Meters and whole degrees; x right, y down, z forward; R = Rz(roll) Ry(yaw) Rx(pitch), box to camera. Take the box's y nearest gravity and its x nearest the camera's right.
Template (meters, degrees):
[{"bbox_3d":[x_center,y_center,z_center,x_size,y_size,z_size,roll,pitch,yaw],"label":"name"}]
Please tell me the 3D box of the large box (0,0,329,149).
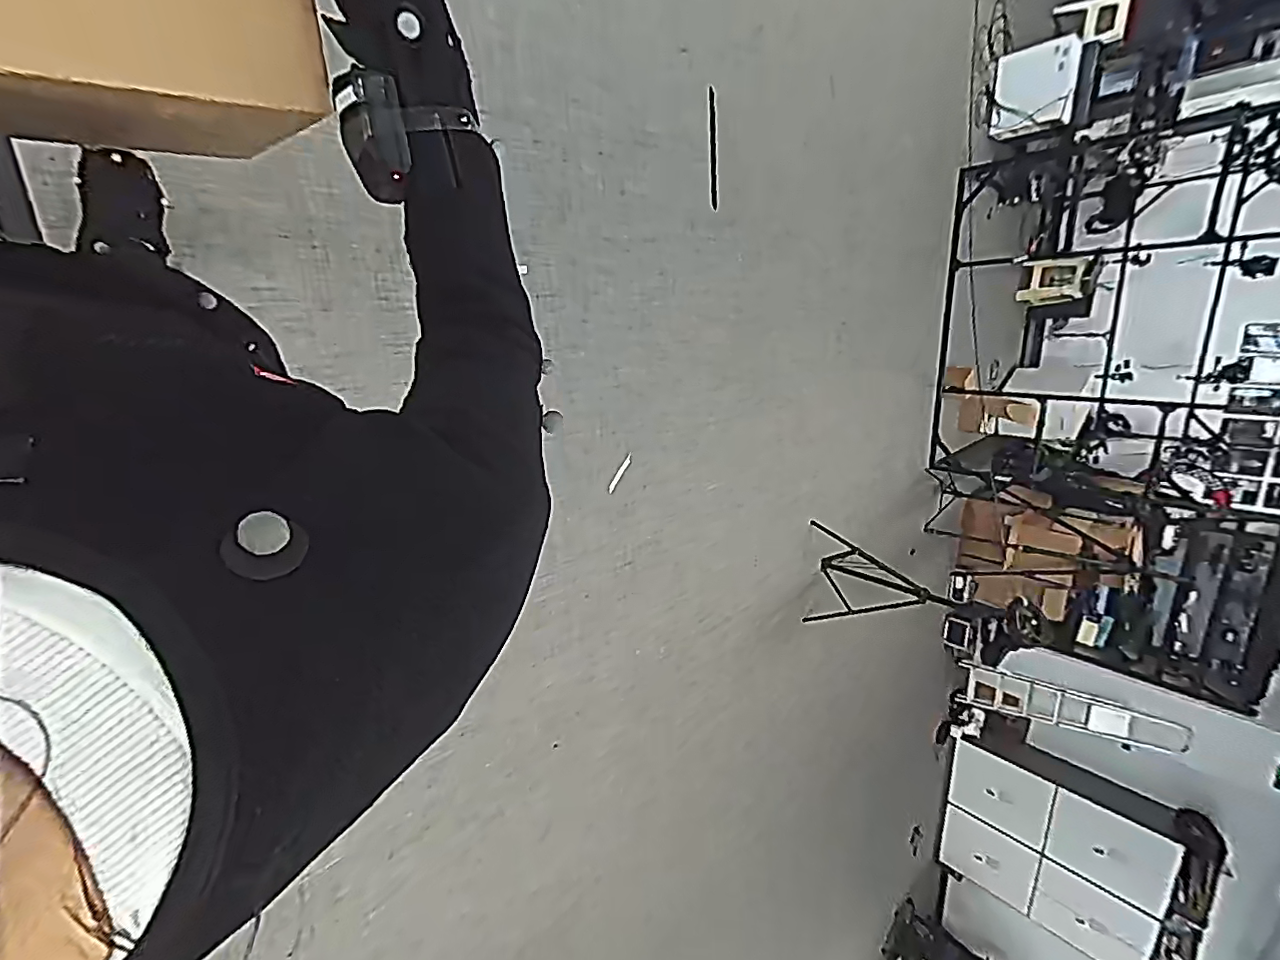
[{"bbox_3d":[-0.454,-0.377,0.277,0.408,0.320,0.320,-21,123,-38],"label":"large box"}]
